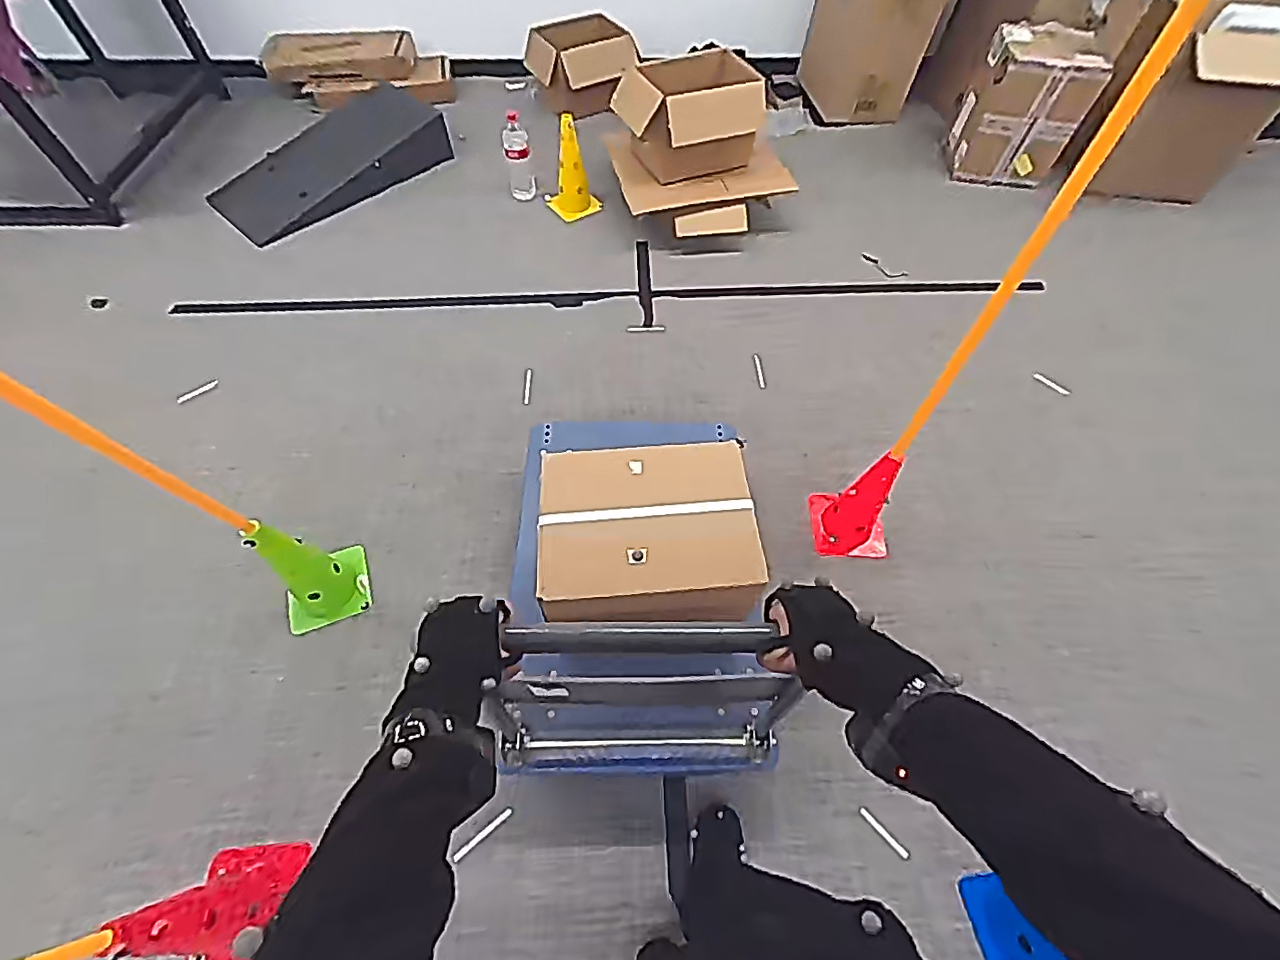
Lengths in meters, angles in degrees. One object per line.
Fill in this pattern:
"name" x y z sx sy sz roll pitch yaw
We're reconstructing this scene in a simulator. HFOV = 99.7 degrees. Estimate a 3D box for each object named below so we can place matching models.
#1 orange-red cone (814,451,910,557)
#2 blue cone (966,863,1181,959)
"orange-red cone" 0.608 0.037 1.405 0.199 0.360 0.198 4 59 0
"blue cone" 0.776 0.805 0.944 0.193 0.380 0.192 -5 57 -5
